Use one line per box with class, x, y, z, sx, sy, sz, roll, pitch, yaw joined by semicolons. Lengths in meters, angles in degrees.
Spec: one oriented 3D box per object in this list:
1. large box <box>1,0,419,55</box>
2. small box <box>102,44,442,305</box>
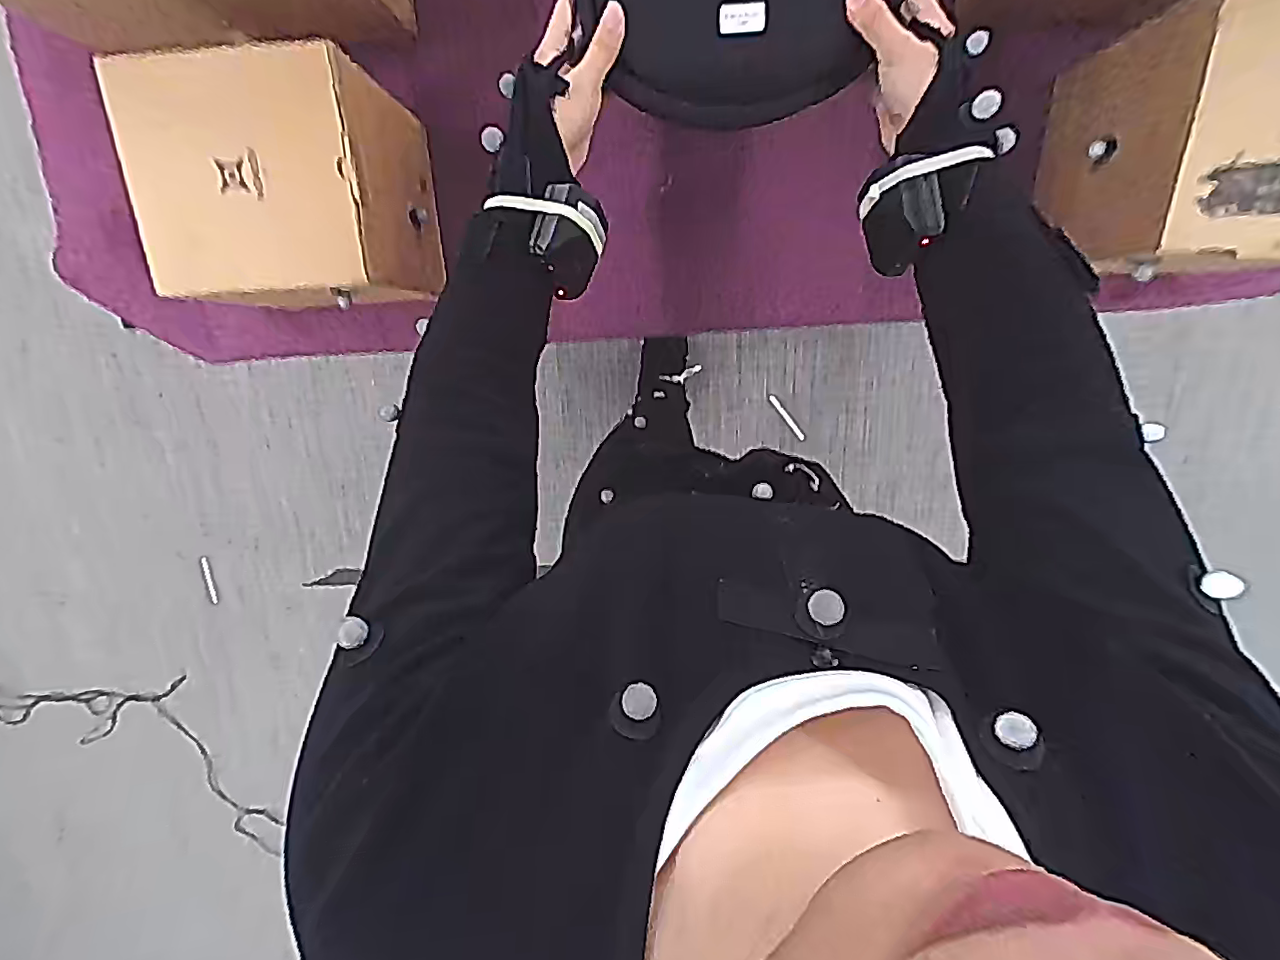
large box;-0.372;-0.564;0.329;0.320;0.320;0.408;-2;109;1
small box;-0.306;-0.254;0.493;0.179;0.176;0.168;-4;105;2
